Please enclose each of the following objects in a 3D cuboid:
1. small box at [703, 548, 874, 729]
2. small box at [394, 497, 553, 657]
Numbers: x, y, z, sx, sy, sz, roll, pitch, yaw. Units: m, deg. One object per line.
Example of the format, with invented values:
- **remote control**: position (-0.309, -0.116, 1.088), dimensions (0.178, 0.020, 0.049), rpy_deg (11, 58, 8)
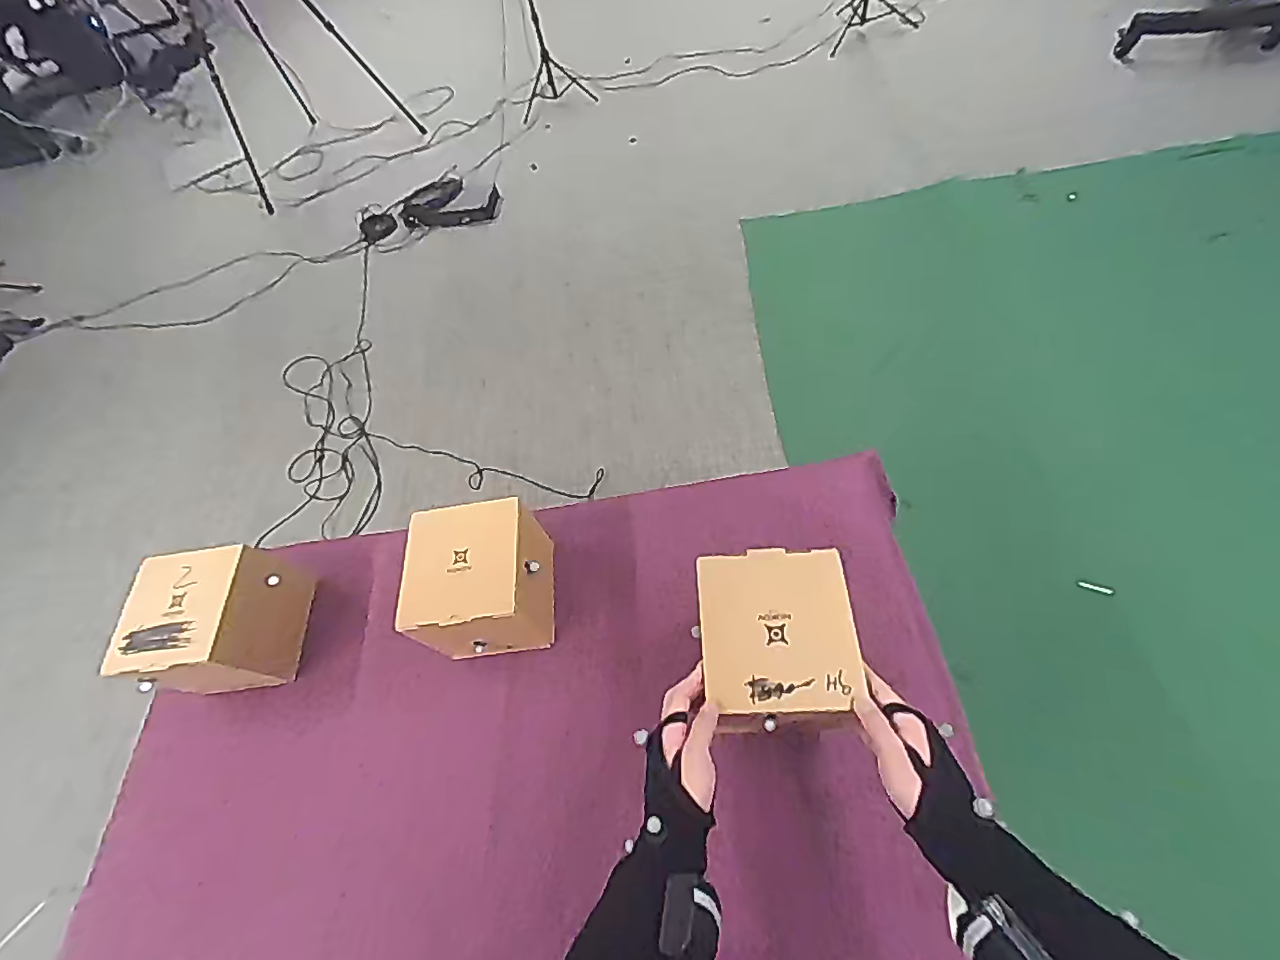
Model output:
- **small box**: position (0.162, 0.196, 0.652), dimensions (0.168, 0.176, 0.179), rpy_deg (-4, 60, 7)
- **small box**: position (-0.231, 0.147, 0.798), dimensions (0.168, 0.176, 0.179), rpy_deg (-8, 59, 5)
